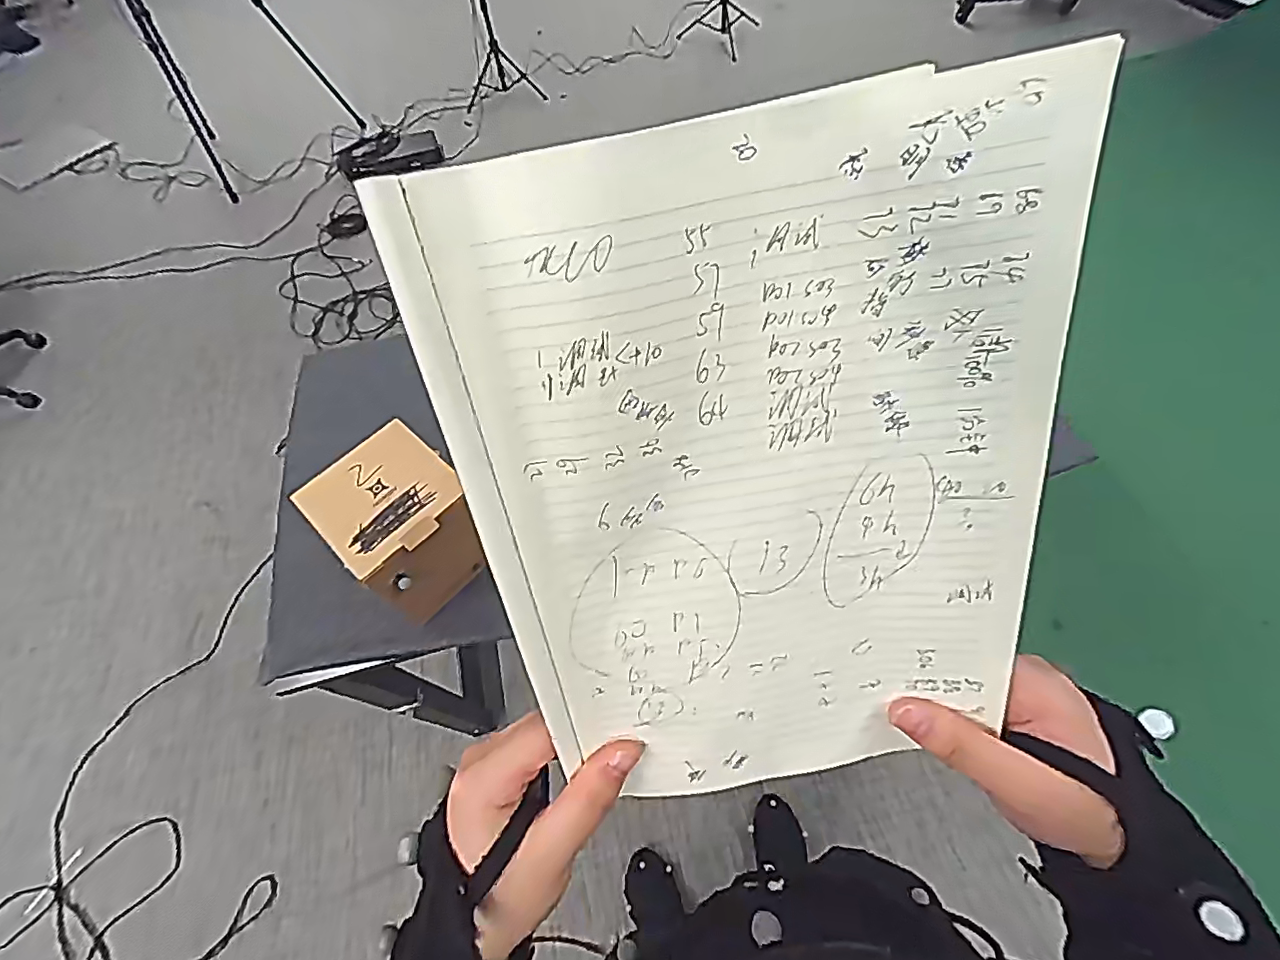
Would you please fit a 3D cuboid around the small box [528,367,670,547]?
[{"bbox_3d":[-0.056,-0.029,0.776,0.168,0.176,0.179,-13,58,-1],"label":"small box"}]
